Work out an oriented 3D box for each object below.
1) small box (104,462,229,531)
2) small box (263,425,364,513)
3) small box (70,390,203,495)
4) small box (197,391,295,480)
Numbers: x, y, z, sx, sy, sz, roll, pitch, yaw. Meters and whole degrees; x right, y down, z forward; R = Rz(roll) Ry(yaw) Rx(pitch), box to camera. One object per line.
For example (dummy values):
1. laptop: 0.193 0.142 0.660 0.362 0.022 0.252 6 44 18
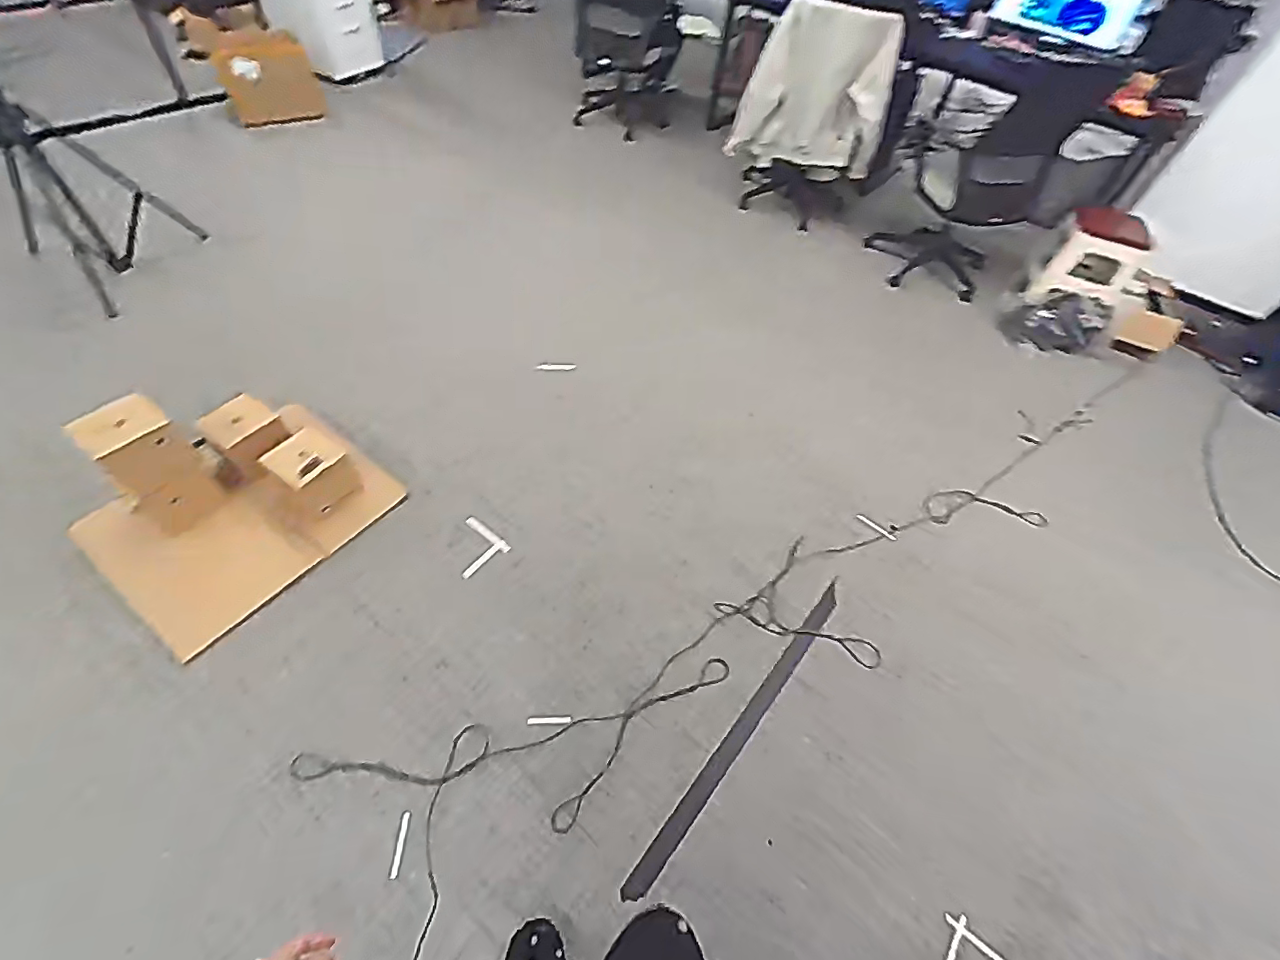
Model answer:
1. small box: -1.336 0.015 1.541 0.168 0.176 0.179 31 57 14
2. small box: -0.967 -0.026 1.620 0.179 0.176 0.168 31 56 15
3. small box: -1.305 -0.097 1.421 0.168 0.176 0.179 33 57 18
4. small box: -1.198 -0.137 1.675 0.168 0.176 0.179 30 56 15
